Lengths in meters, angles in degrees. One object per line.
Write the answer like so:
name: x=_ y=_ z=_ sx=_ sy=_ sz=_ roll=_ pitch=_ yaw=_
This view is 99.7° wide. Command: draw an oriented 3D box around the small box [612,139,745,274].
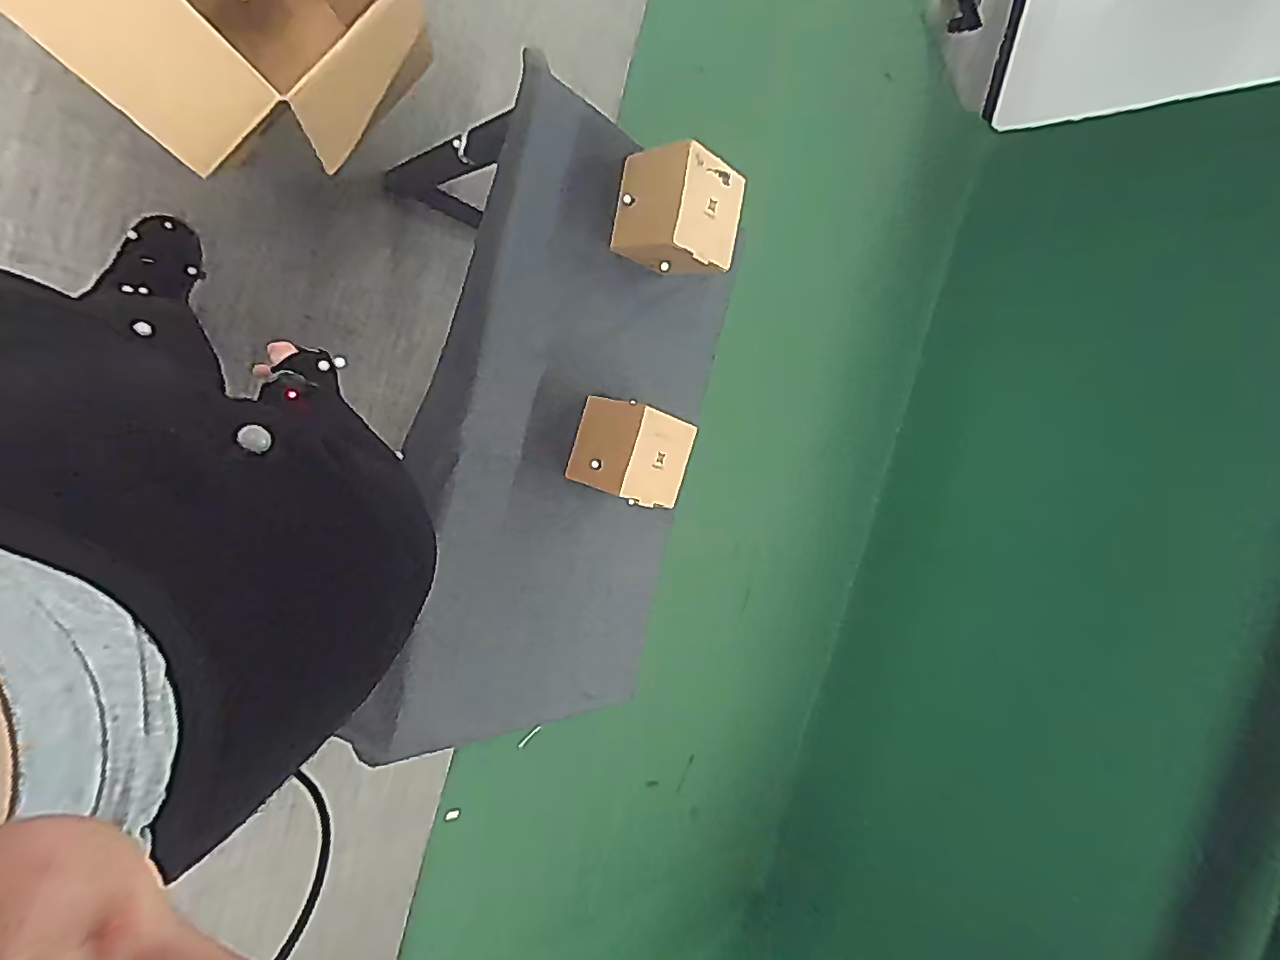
small box: x=0.068 y=-0.504 z=1.028 sx=0.168 sy=0.176 sz=0.179 roll=3 pitch=102 yaw=-46

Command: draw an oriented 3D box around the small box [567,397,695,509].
small box: x=-0.023 y=-0.055 z=1.086 sx=0.168 sy=0.176 sz=0.179 roll=15 pitch=91 yaw=-48
